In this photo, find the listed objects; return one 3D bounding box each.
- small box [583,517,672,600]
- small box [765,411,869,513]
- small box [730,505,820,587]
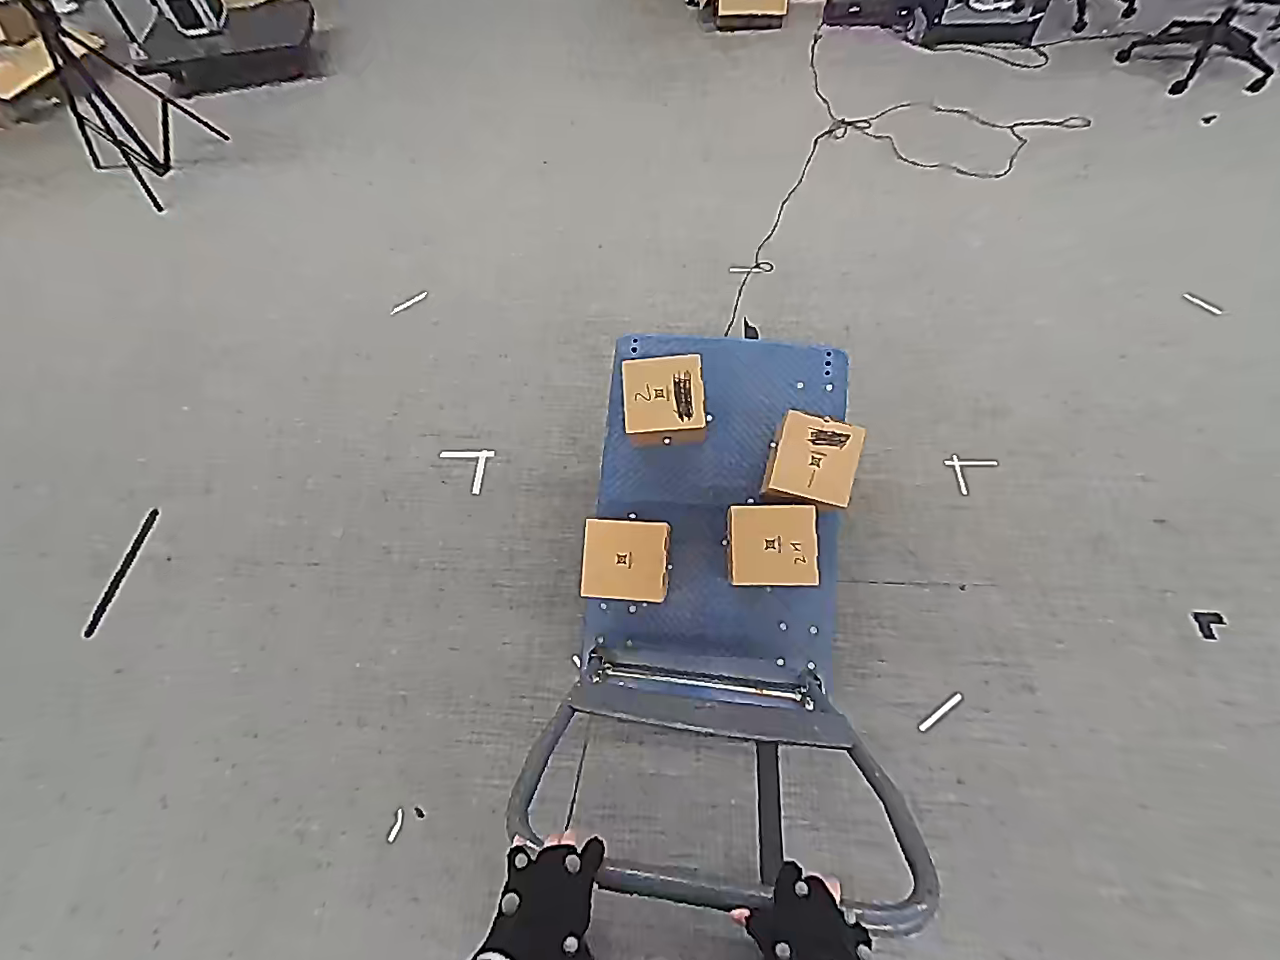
[{"bbox_3d":[-0.022,0.176,1.217,0.179,0.176,0.168,3,83,5],"label":"small box"},{"bbox_3d":[0.383,-0.034,1.201,0.168,0.176,0.179,16,86,8],"label":"small box"},{"bbox_3d":[0.288,0.145,1.188,0.179,0.176,0.168,0,83,6],"label":"small box"}]
